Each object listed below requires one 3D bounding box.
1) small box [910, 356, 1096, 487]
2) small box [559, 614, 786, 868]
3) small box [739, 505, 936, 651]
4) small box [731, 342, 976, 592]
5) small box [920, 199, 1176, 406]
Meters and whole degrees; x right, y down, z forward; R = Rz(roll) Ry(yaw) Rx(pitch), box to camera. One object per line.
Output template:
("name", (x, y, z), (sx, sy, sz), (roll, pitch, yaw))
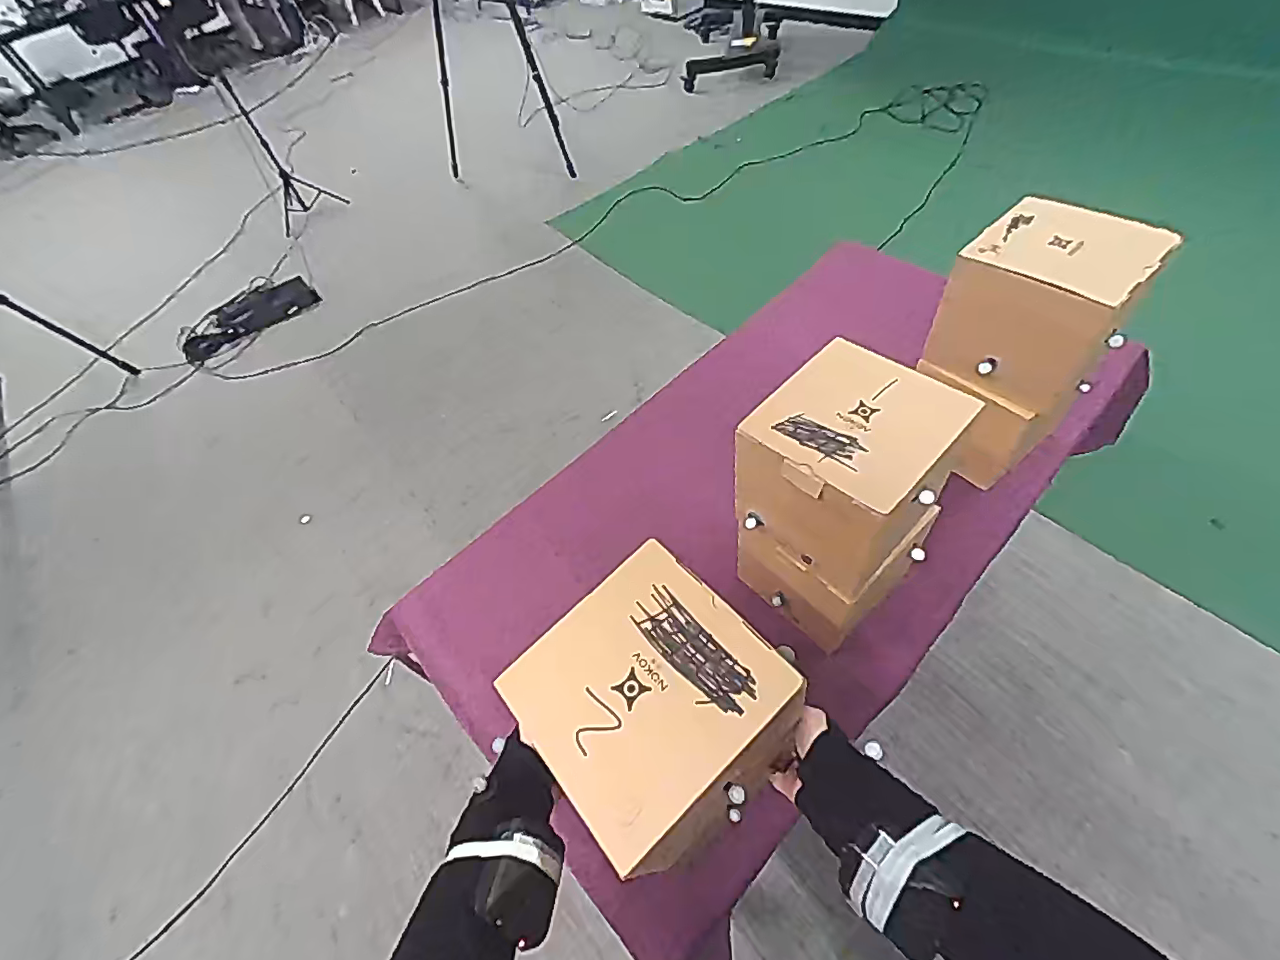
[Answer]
("small box", (0.524, -0.122, 0.825), (0.179, 0.176, 0.168), (-35, 56, -16))
("small box", (0.045, 0.289, 0.599), (0.179, 0.176, 0.168), (-38, 57, -12))
("small box", (0.246, 0.091, 0.717), (0.179, 0.176, 0.168), (-38, 56, -18))
("small box", (0.218, -0.010, 0.590), (0.179, 0.176, 0.168), (-40, 57, -20))
("small box", (0.503, -0.221, 0.695), (0.168, 0.176, 0.179), (-38, 57, -18))
